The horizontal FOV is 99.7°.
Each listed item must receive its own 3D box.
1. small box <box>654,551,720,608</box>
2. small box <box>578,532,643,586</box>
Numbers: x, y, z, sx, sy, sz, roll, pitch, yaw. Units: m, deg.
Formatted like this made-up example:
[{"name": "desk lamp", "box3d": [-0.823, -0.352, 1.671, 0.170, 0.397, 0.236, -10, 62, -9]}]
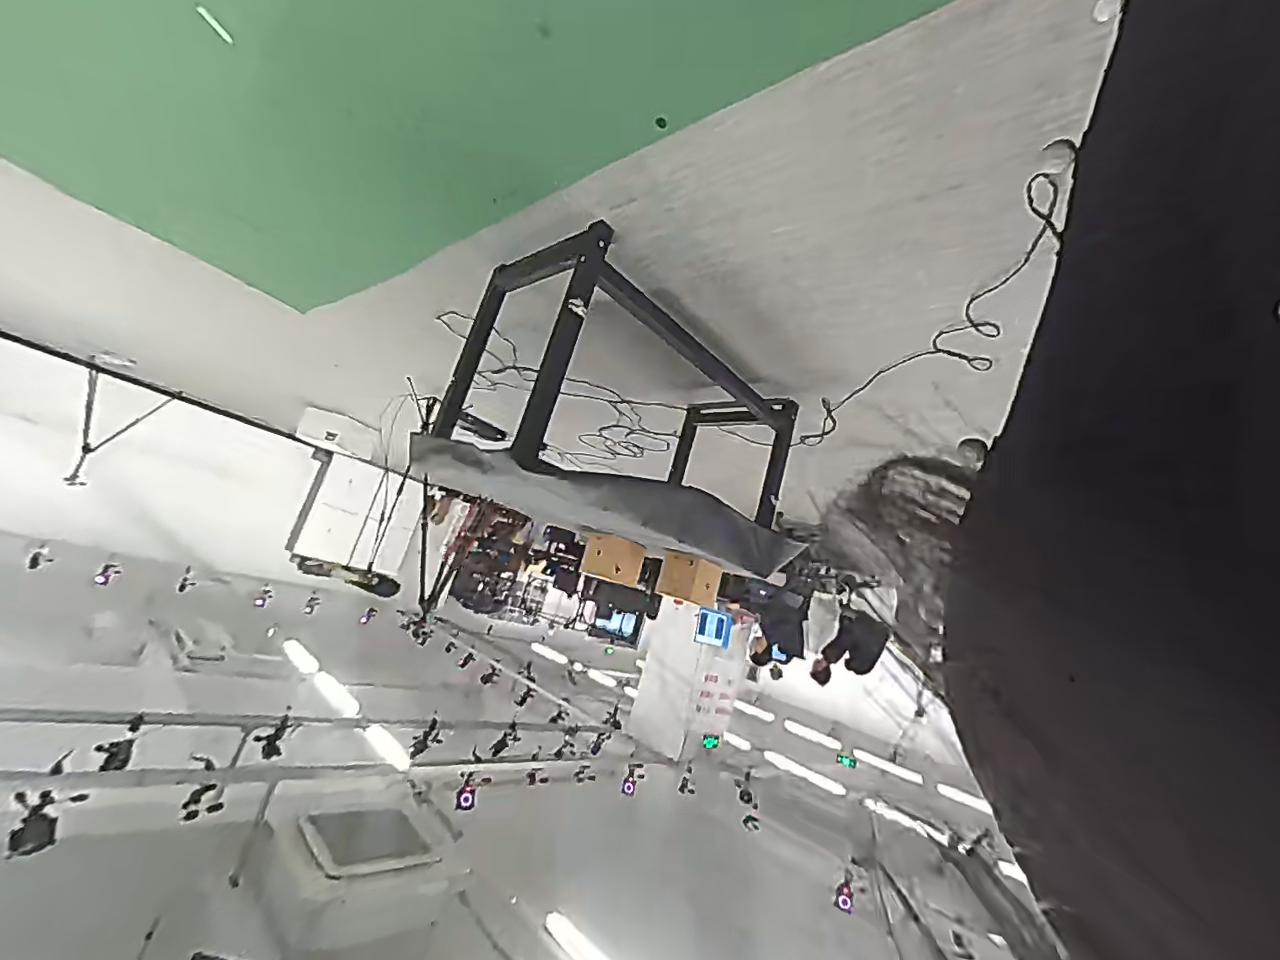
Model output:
[{"name": "small box", "box3d": [0.184, 0.379, 2.076, 0.168, 0.176, 0.179, 6, 165, 41]}, {"name": "small box", "box3d": [-0.115, 0.311, 2.146, 0.168, 0.176, 0.179, 3, 163, 44]}]
